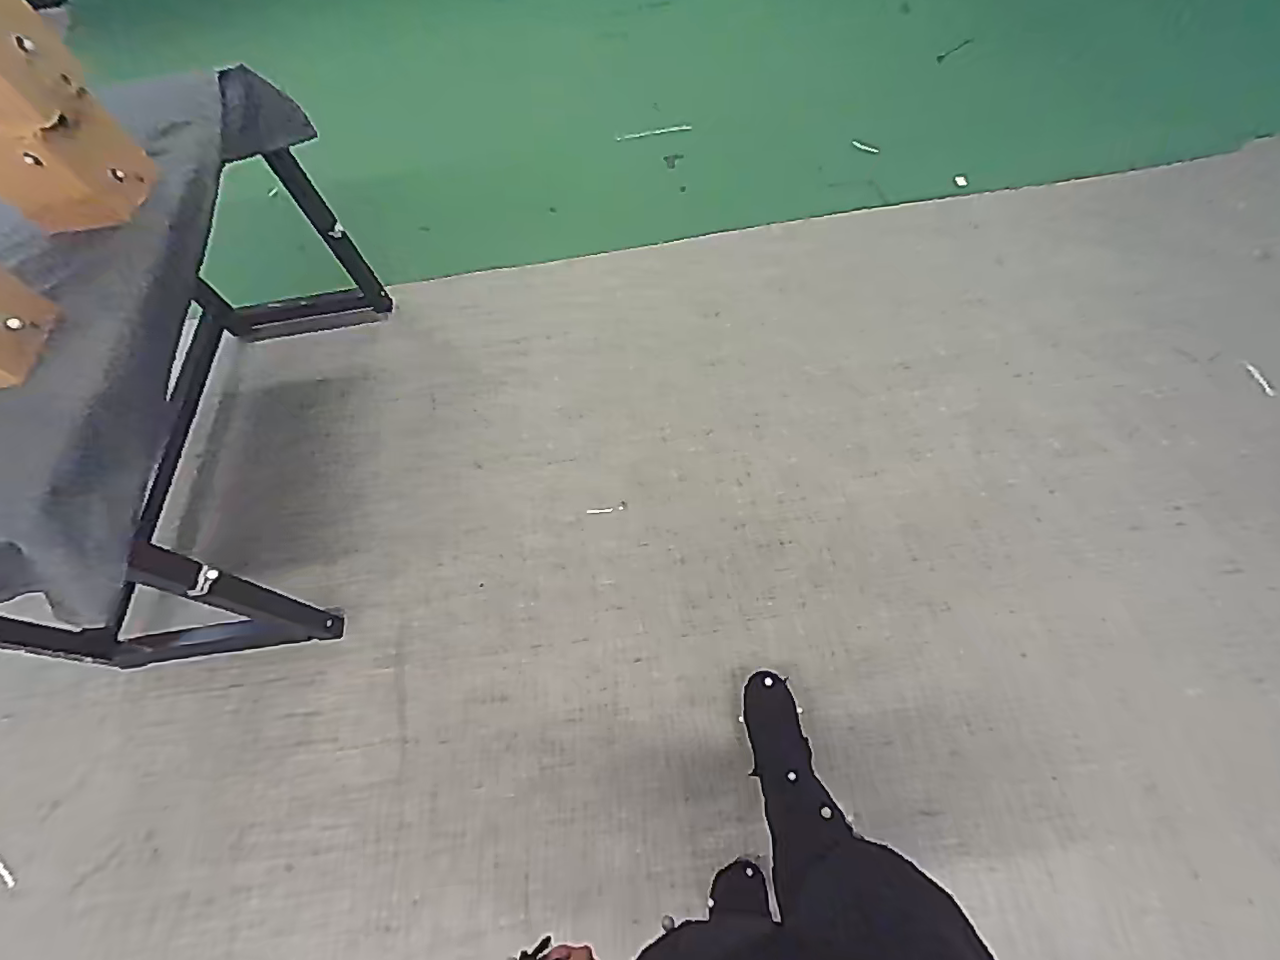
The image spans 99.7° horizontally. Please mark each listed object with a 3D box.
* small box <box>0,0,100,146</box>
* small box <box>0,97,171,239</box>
[{"bbox_3d":[-1.043,-0.662,0.865,0.179,0.176,0.168,-8,61,2],"label":"small box"},{"bbox_3d":[-1.044,-0.570,1.002,0.179,0.176,0.168,-5,61,4],"label":"small box"}]
